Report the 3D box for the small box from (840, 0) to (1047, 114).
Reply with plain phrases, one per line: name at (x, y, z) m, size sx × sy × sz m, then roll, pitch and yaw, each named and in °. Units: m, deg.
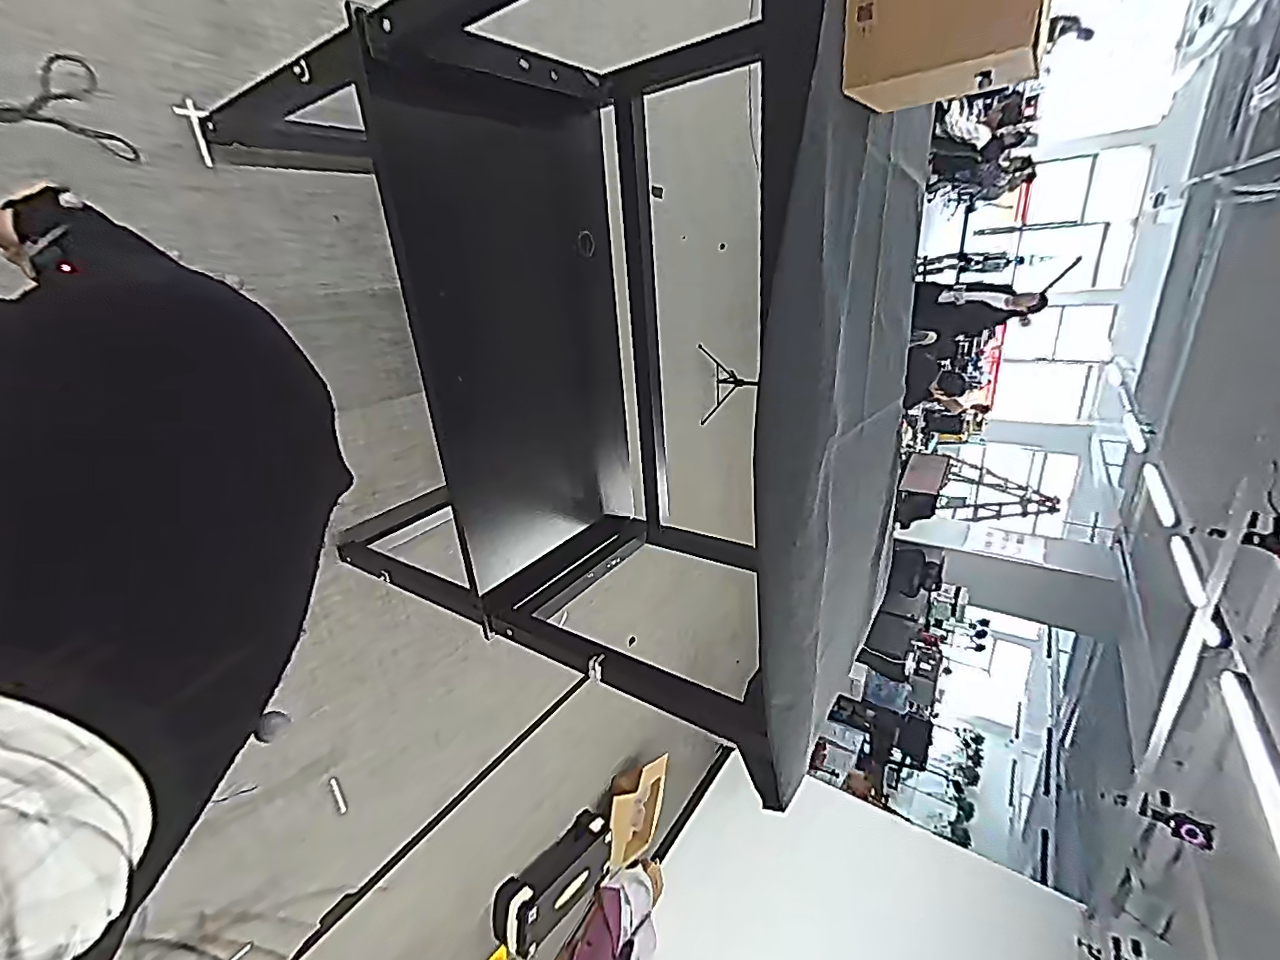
small box at (0.314, -0.496, 0.555) m, size 0.179 × 0.176 × 0.168 m, roll -34°, pitch 126°, yaw -48°
